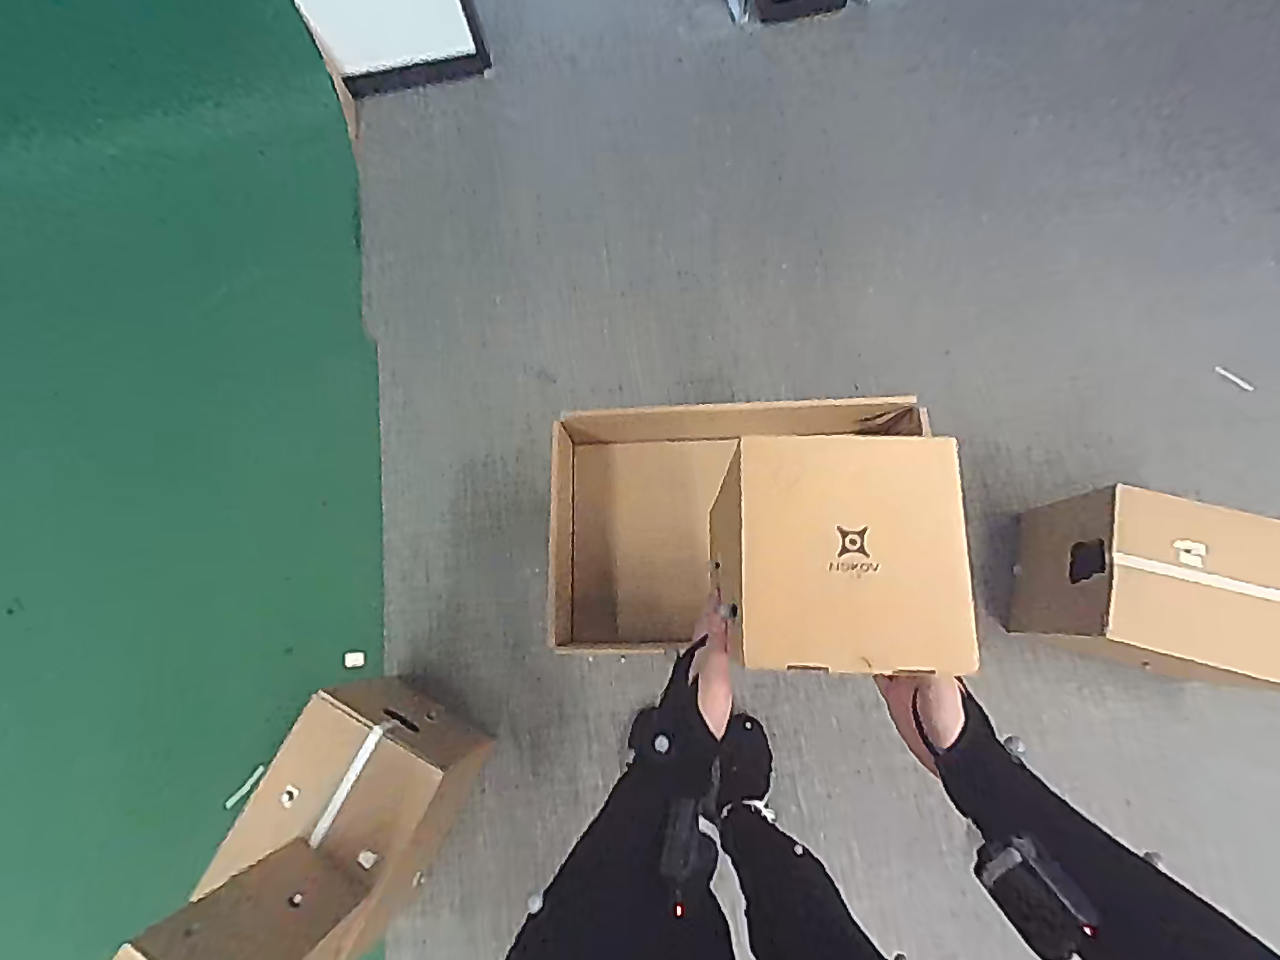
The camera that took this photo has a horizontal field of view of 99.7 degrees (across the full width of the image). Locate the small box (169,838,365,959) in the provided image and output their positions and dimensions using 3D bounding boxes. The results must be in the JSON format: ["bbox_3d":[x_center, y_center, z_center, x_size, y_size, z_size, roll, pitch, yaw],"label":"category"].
[{"bbox_3d":[-0.593,0.728,0.875,0.179,0.176,0.168,30,78,10],"label":"small box"}]

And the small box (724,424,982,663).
[{"bbox_3d":[0.166,0.061,0.480,0.168,0.176,0.179,1,78,3],"label":"small box"}]

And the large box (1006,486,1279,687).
[{"bbox_3d":[1.101,0.234,1.168,0.408,0.320,0.320,14,76,8],"label":"large box"}]
